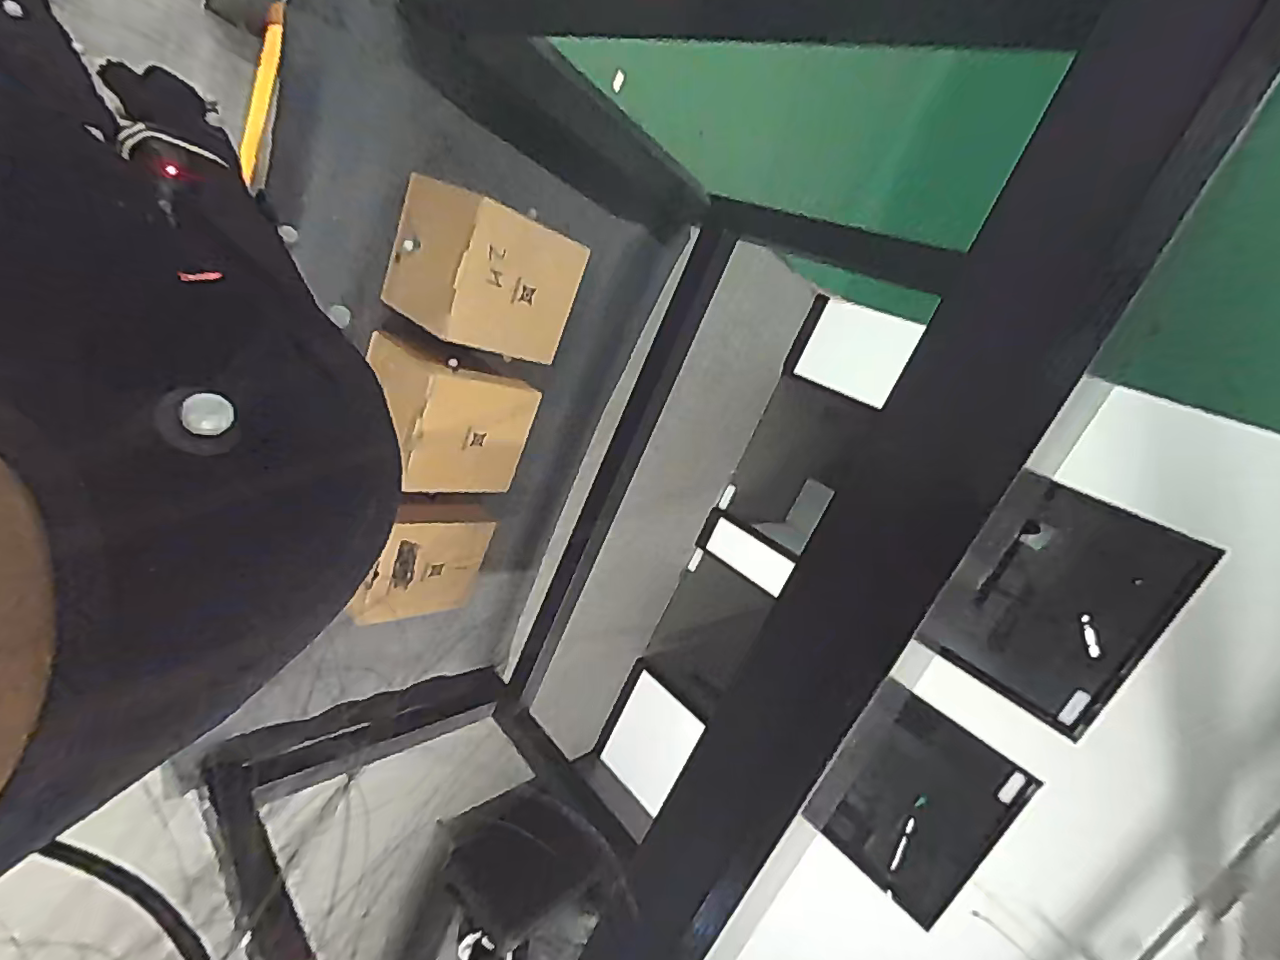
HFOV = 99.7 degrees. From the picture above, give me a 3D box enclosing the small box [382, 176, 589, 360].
[{"bbox_3d":[-0.206,-0.279,0.720,0.179,0.176,0.168,1,117,-53],"label":"small box"}]
